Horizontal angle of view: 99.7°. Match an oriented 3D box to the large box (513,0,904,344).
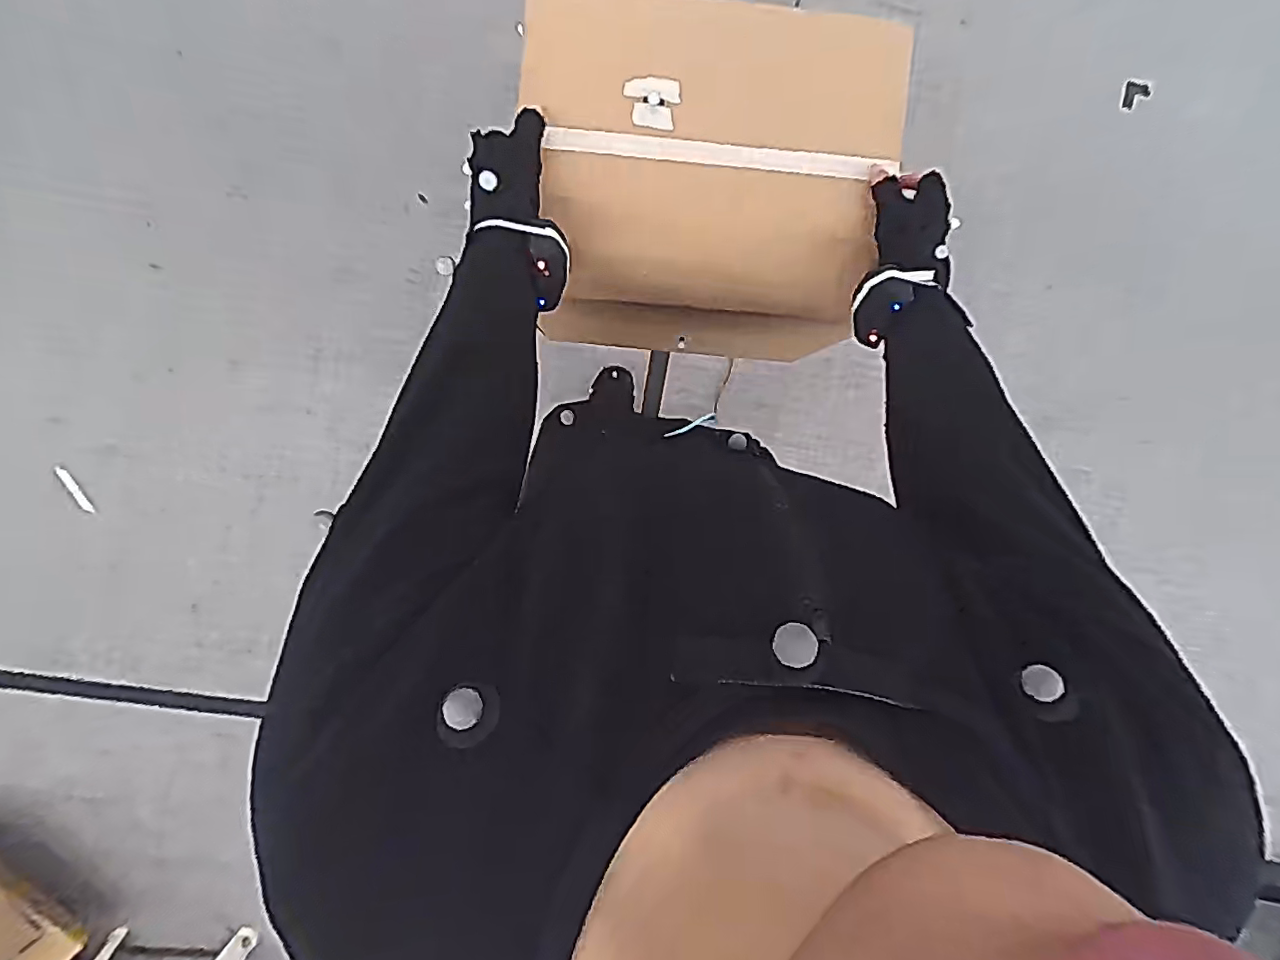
[{"bbox_3d":[0.068,-0.368,0.721,0.408,0.320,0.320,4,94,-2],"label":"large box"}]
